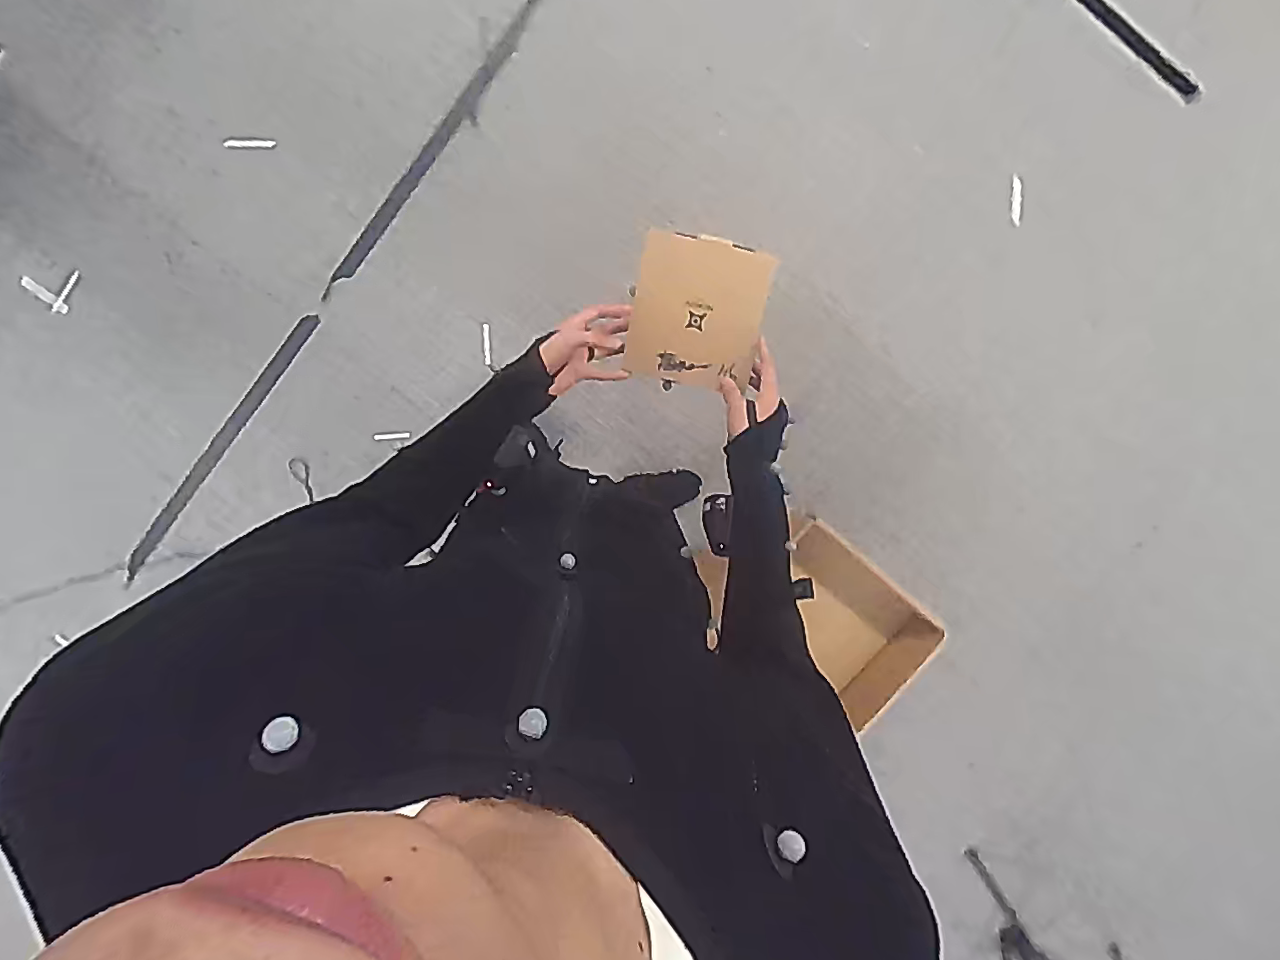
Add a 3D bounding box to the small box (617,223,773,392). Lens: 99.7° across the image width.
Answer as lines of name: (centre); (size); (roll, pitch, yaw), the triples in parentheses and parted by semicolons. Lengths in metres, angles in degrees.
small box: (0.069, -0.231, 0.751); (0.168, 0.176, 0.179); (12, 104, 0)
